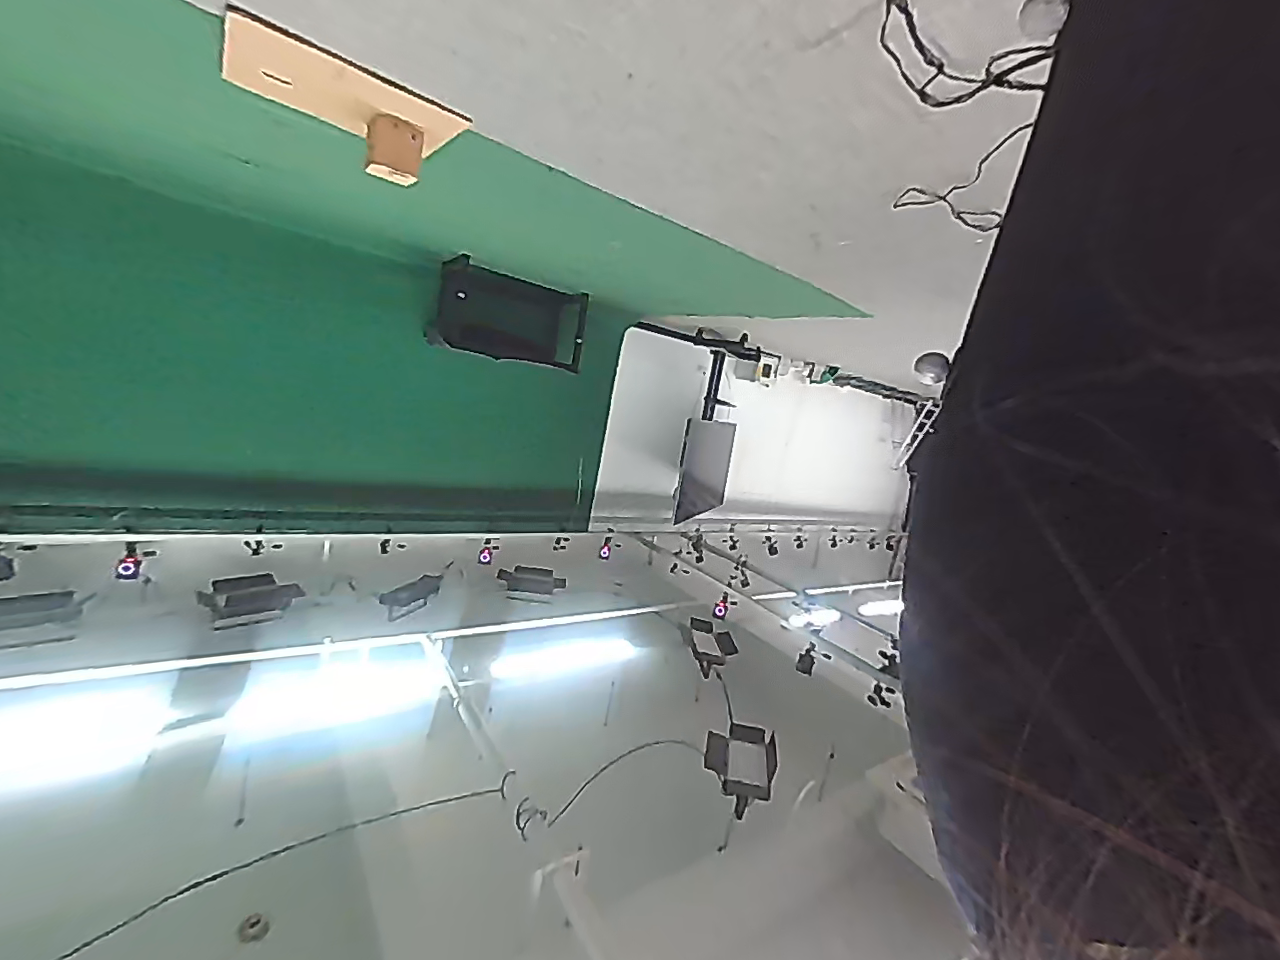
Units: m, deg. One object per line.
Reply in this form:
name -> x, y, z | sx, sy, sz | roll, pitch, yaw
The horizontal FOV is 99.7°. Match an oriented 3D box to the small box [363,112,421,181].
small box -> -0.955, -1.282, 2.081 | 0.168, 0.176, 0.179 | 2, -166, -40
